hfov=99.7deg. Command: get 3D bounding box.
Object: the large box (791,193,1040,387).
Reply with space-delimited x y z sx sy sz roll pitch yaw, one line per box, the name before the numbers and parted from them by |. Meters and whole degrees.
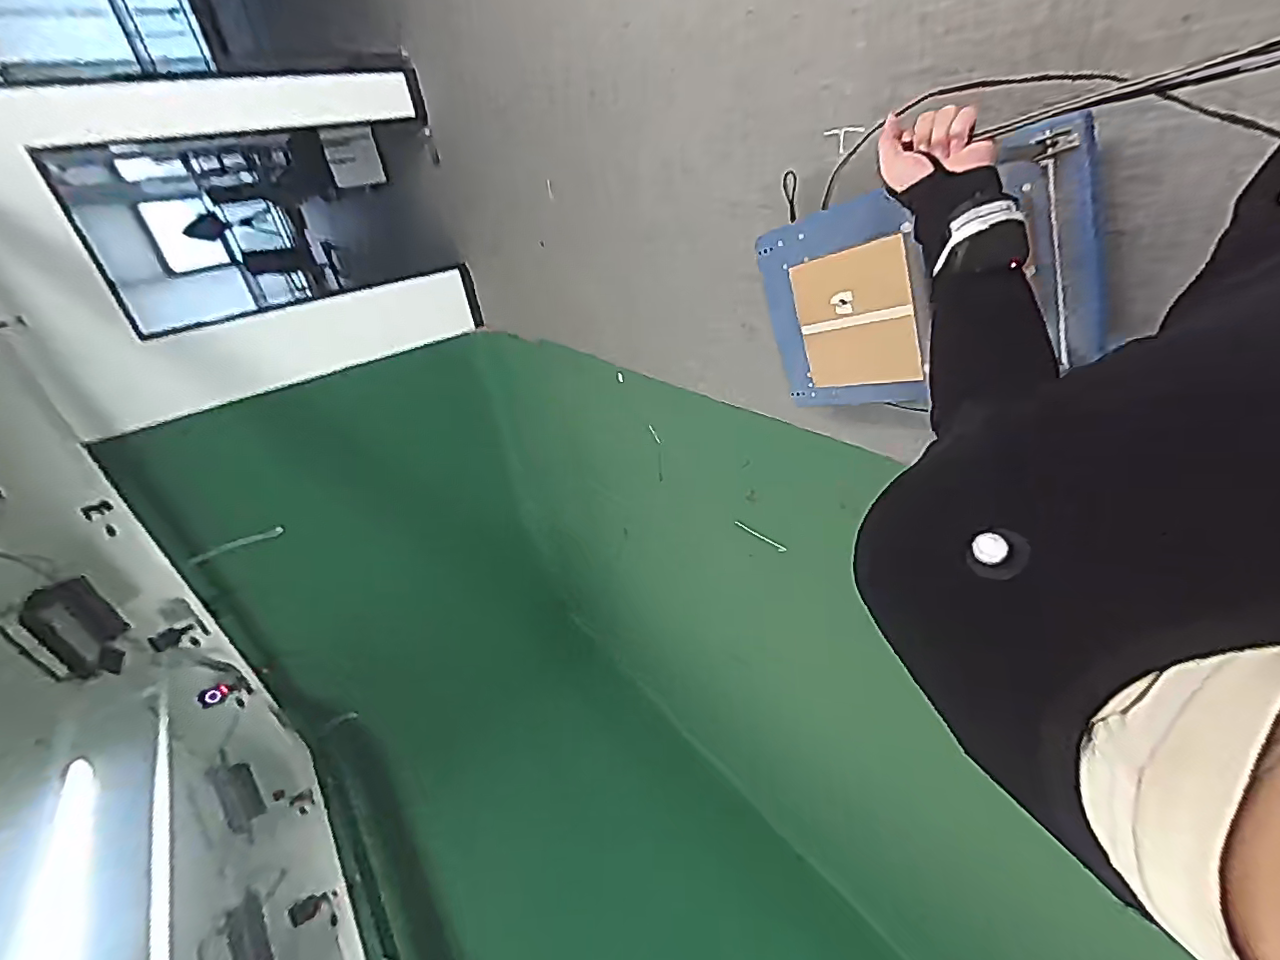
large box | 0.642 -0.429 1.280 0.408 0.320 0.320 8 120 56
